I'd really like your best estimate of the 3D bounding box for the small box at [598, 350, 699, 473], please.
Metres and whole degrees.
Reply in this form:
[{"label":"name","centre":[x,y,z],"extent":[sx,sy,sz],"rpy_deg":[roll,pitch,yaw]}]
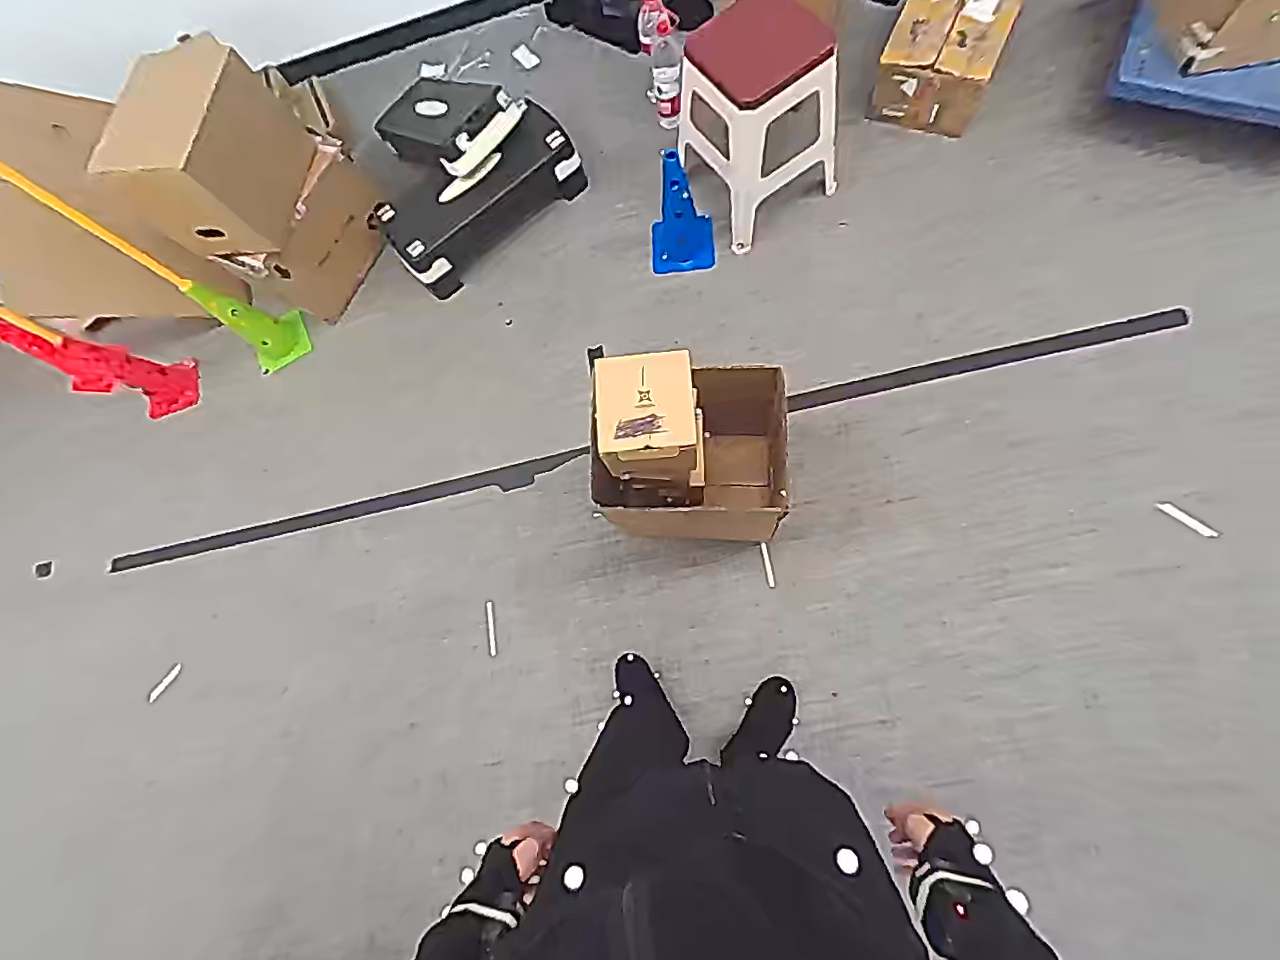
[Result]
[{"label":"small box","centre":[0.020,-0.114,0.980],"extent":[0.168,0.176,0.179],"rpy_deg":[-4,77,5]}]
